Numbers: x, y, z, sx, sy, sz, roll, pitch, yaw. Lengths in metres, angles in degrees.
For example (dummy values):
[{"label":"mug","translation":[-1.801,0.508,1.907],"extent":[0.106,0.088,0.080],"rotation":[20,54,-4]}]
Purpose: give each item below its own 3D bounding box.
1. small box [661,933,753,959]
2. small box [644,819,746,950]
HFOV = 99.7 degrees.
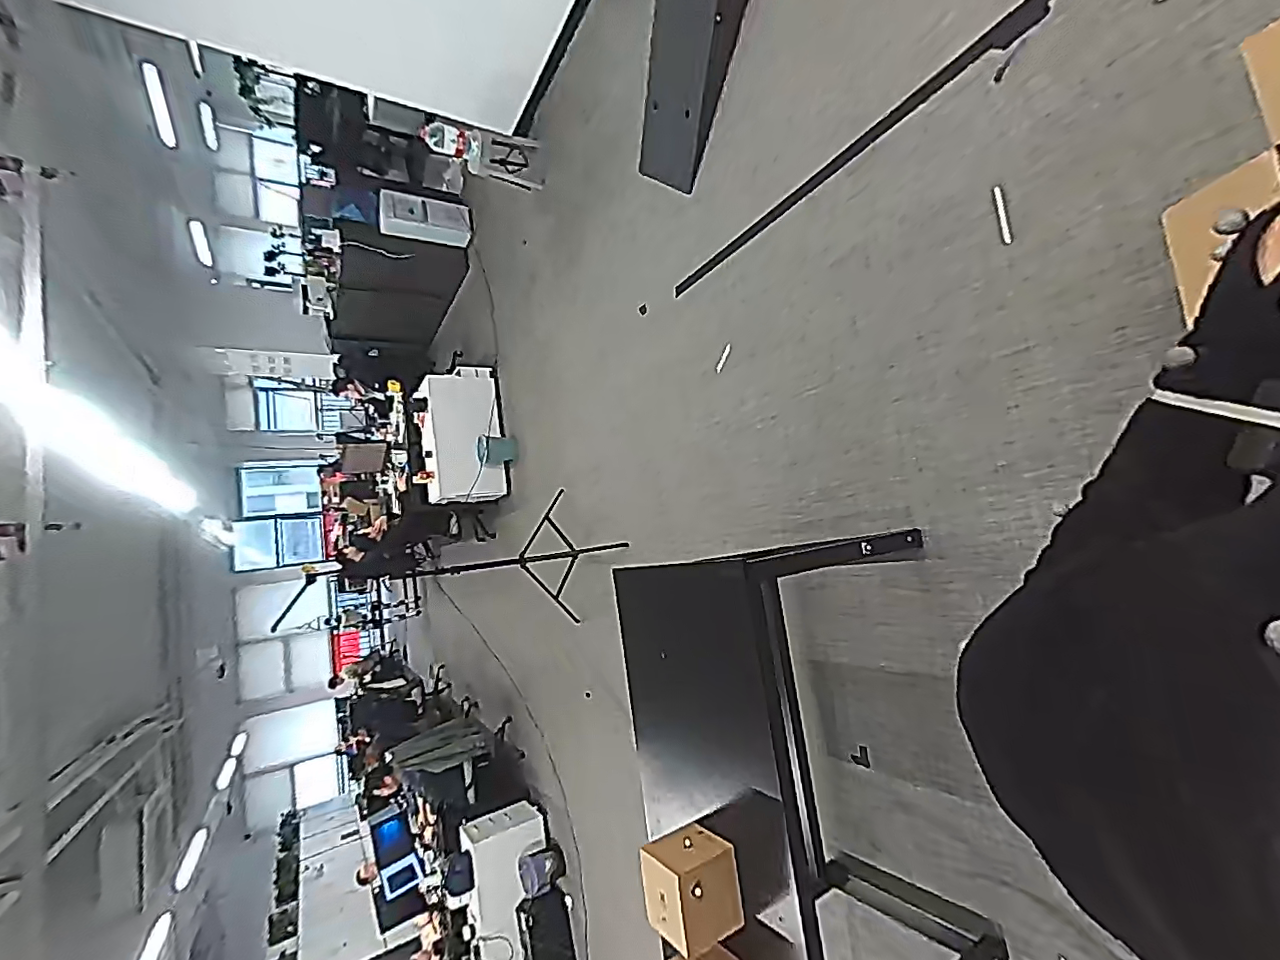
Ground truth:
[{"label":"small box","translation":[0.172,1.217,1.269],"extent":[0.179,0.176,0.168],"rotation":[-22,75,56]},{"label":"small box","translation":[0.133,0.955,1.301],"extent":[0.168,0.176,0.179],"rotation":[-20,76,58]}]
